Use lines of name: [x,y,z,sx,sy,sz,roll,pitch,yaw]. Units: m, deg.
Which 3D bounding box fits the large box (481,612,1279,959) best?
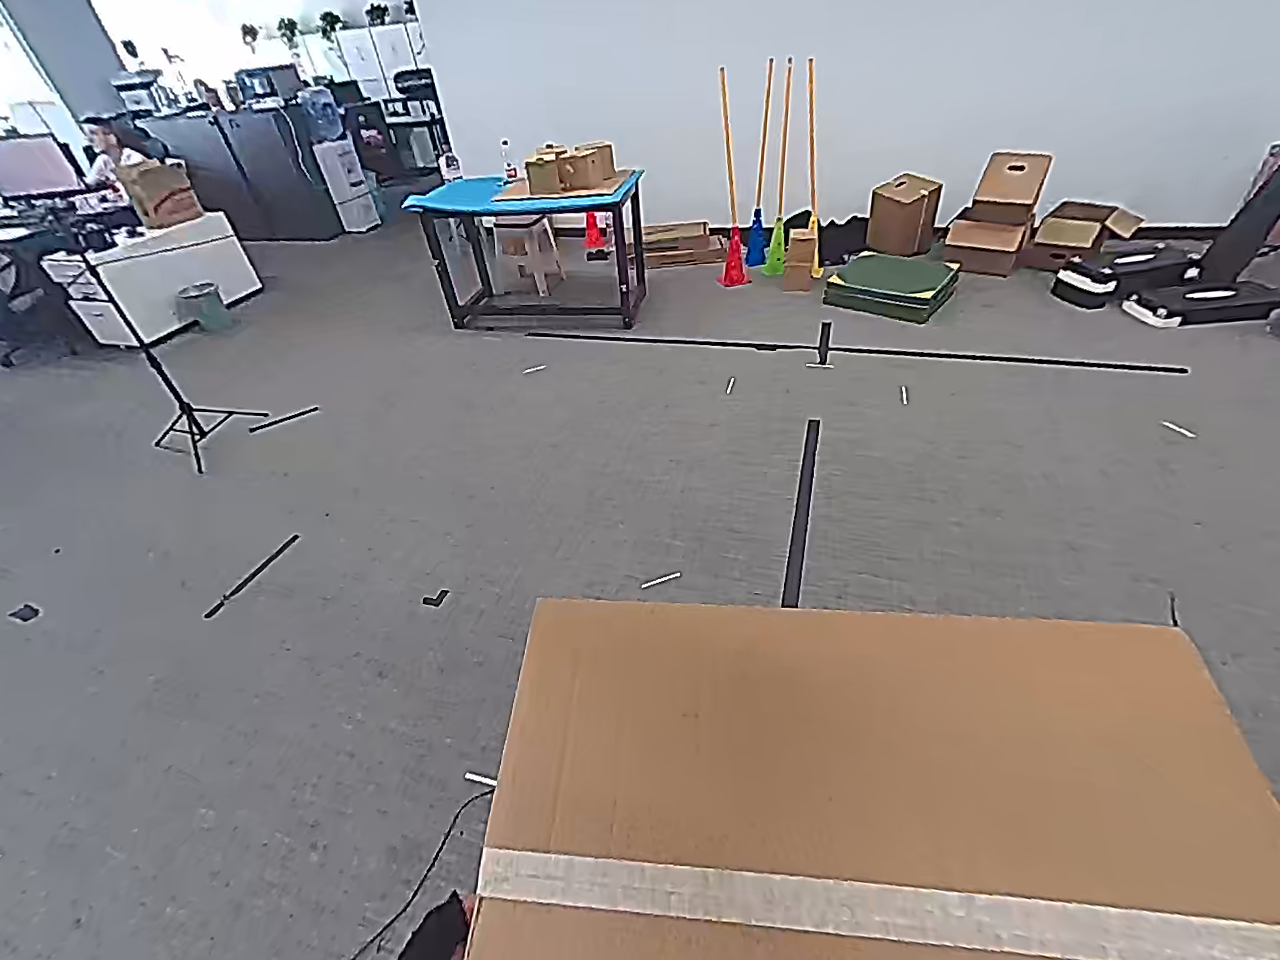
large box: [0.130,0.306,0.392,0.408,0.320,0.320,1,55,7]
